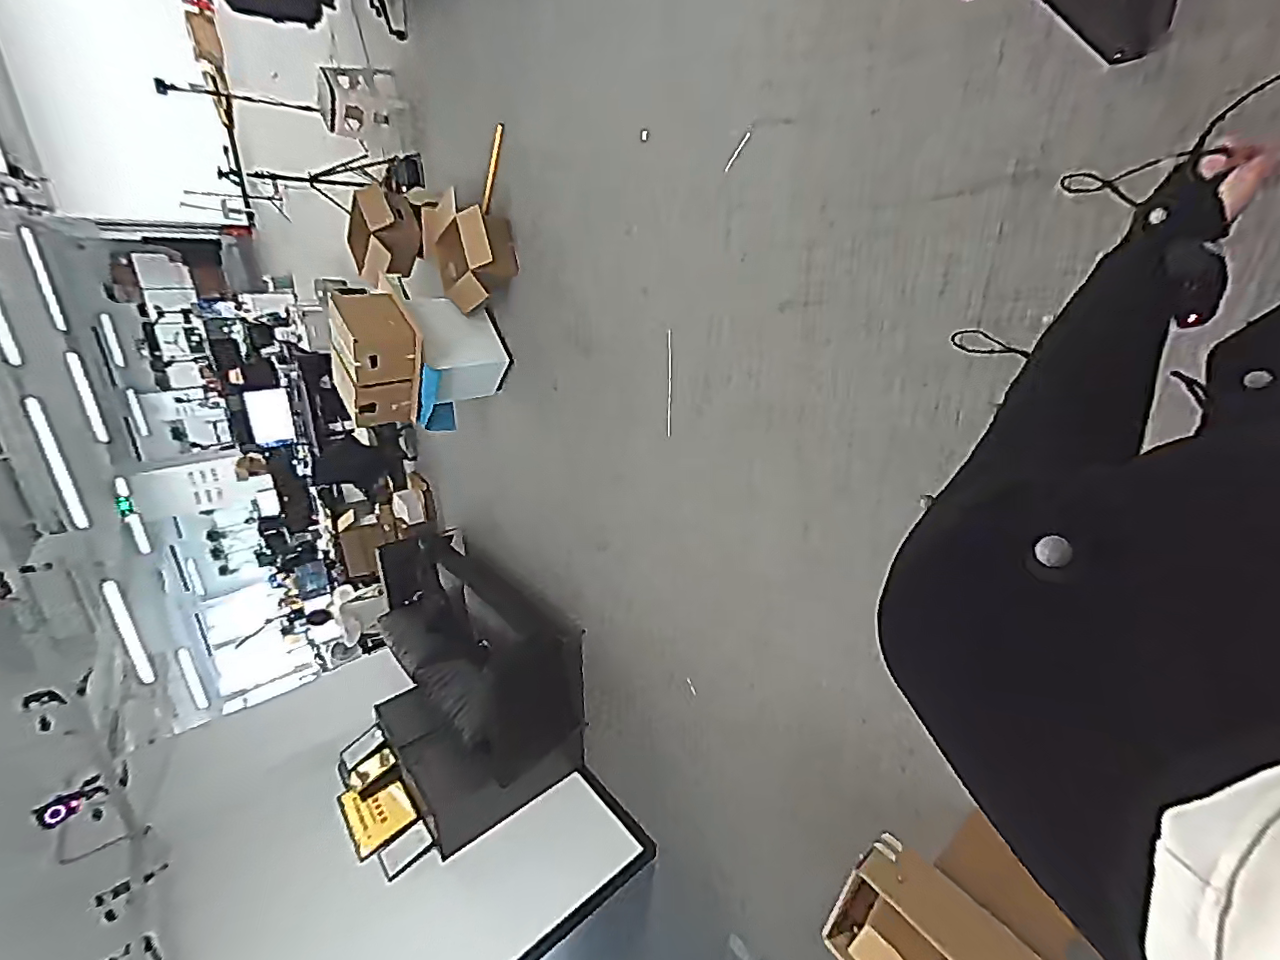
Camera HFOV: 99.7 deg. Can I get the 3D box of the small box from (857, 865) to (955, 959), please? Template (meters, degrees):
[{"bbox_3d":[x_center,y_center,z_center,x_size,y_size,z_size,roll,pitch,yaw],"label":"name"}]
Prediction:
[{"bbox_3d":[0.755,1.254,1.533,0.168,0.176,0.179,36,131,38],"label":"small box"}]
